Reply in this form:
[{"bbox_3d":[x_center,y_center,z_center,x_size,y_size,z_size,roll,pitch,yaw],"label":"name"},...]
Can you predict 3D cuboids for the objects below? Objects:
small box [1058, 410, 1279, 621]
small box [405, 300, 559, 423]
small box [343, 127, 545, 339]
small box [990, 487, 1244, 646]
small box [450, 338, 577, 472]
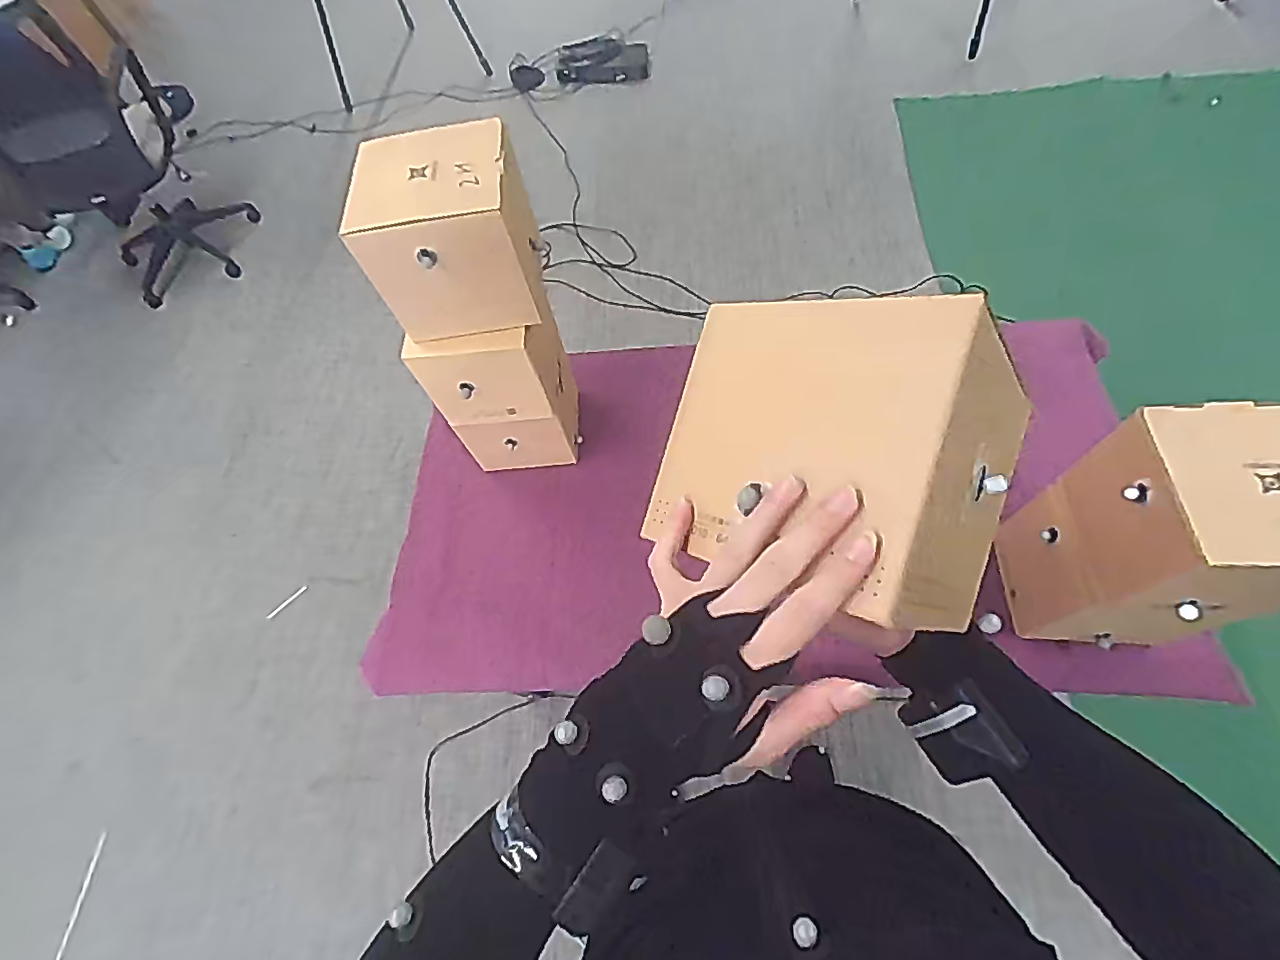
[{"bbox_3d":[0.600,0.042,0.585,0.168,0.176,0.179,0,62,9],"label":"small box"},{"bbox_3d":[-0.221,-0.197,0.805,0.168,0.176,0.179,-4,62,4],"label":"small box"},{"bbox_3d":[-0.226,-0.295,0.671,0.179,0.176,0.168,-7,62,2],"label":"small box"},{"bbox_3d":[0.615,0.122,0.727,0.179,0.176,0.168,1,62,7],"label":"small box"},{"bbox_3d":[-0.210,-0.127,0.951,0.179,0.176,0.168,-5,62,4],"label":"small box"}]
